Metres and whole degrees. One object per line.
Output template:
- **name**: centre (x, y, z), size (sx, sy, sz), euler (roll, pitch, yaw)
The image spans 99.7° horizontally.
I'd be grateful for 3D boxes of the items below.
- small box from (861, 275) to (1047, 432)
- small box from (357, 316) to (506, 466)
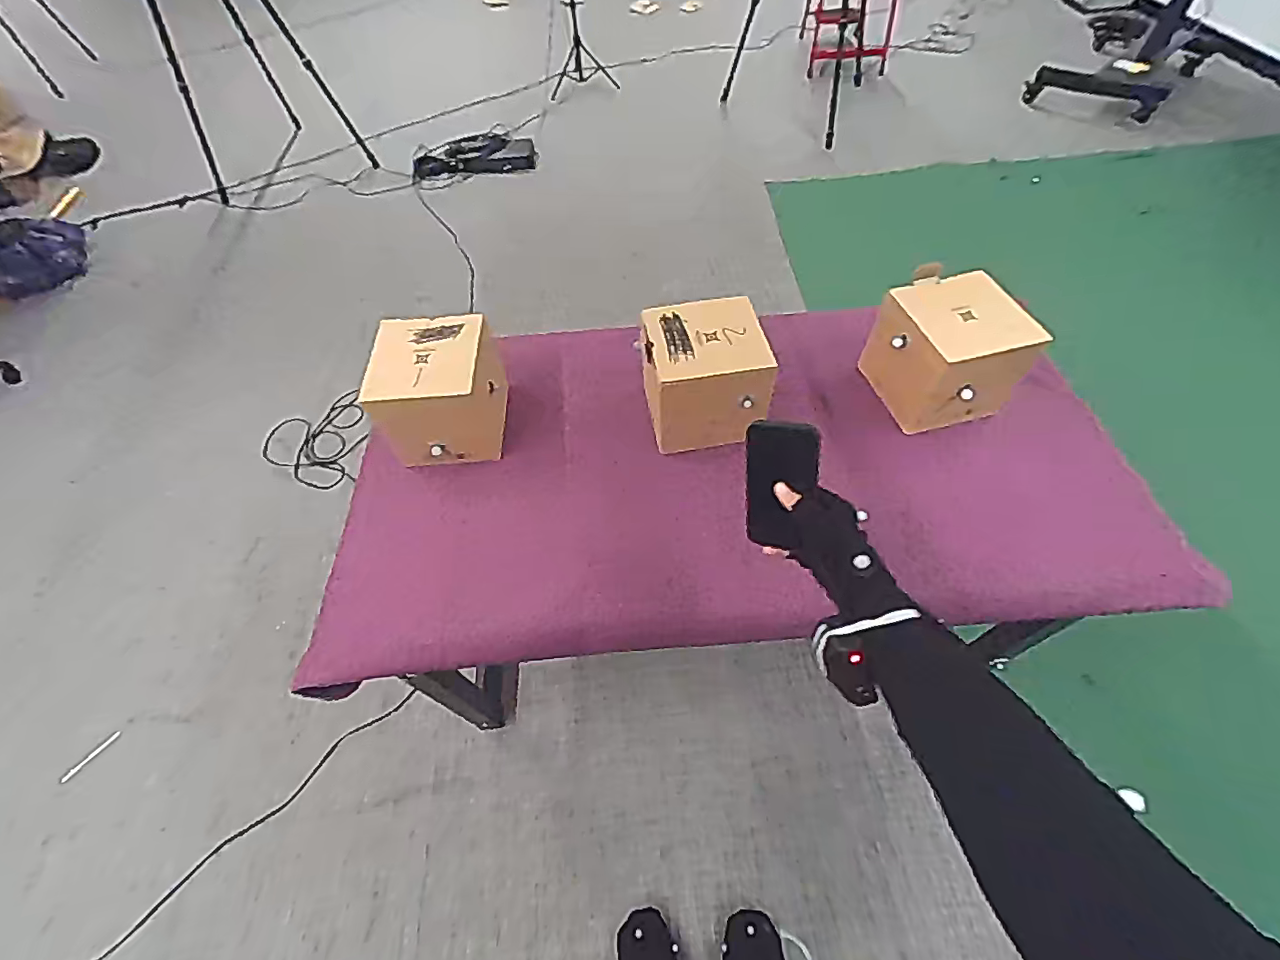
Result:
- **small box**: centre (0.490, -0.197, 0.877), size (0.168, 0.176, 0.179), euler (-14, 55, -5)
- **small box**: centre (-0.322, -0.142, 0.879), size (0.168, 0.176, 0.179), euler (-4, 57, 1)
